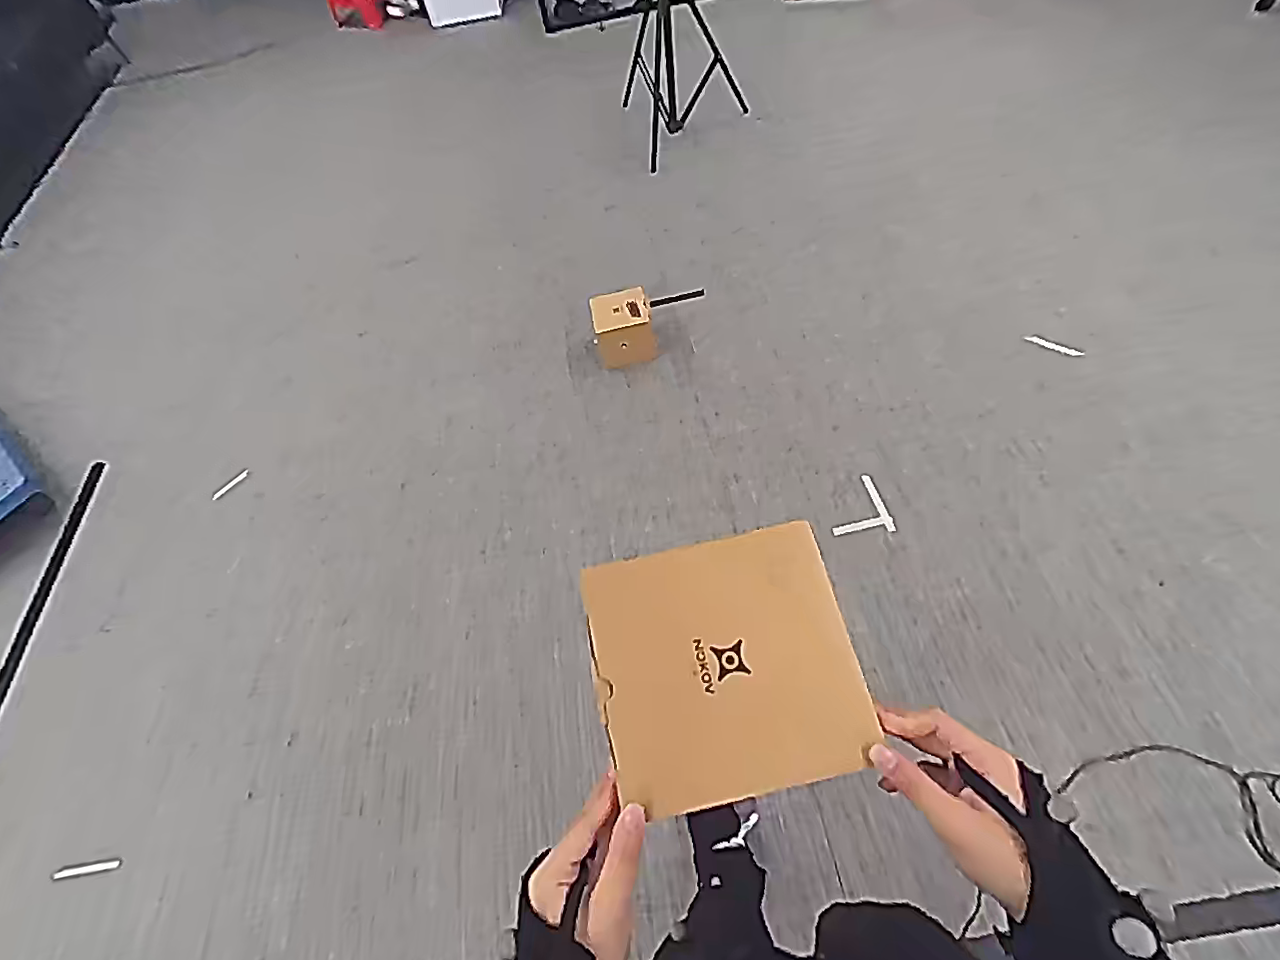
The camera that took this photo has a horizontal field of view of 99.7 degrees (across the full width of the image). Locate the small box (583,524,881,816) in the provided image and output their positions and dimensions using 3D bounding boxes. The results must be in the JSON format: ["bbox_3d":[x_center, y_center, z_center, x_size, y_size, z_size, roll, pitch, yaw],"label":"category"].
[{"bbox_3d":[0.063,0.151,0.451,0.179,0.176,0.168,-14,70,0],"label":"small box"}]

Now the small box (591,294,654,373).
[{"bbox_3d":[-0.052,-0.479,1.785,0.179,0.176,0.168,-12,59,2],"label":"small box"}]
